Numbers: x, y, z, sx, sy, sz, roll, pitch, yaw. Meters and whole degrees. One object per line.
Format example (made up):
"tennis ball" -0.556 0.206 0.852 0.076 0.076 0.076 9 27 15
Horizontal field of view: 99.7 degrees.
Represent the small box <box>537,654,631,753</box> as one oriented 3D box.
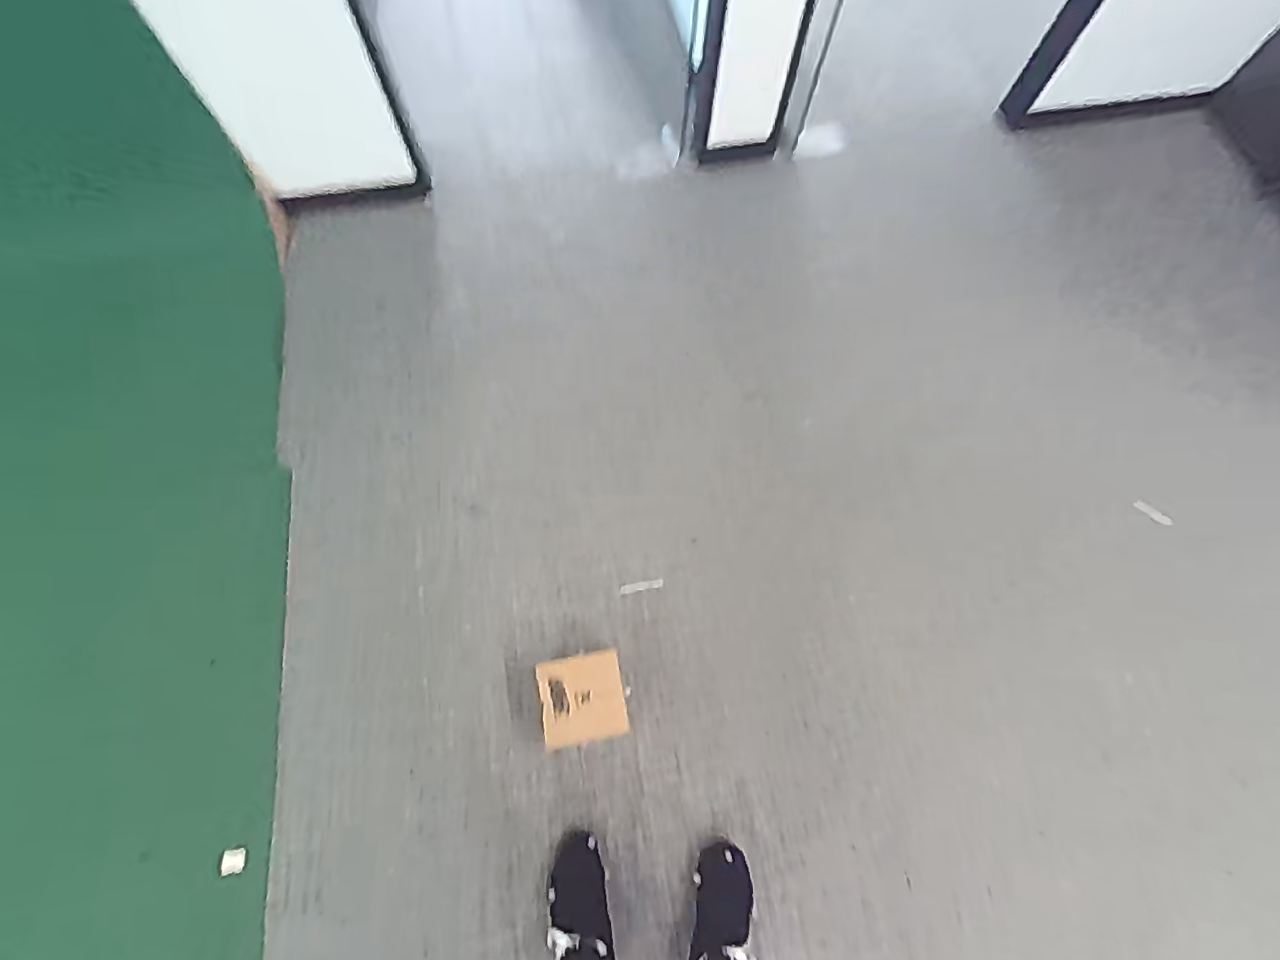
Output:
"small box" -0.119 0.492 1.195 0.179 0.176 0.168 -10 69 -6
